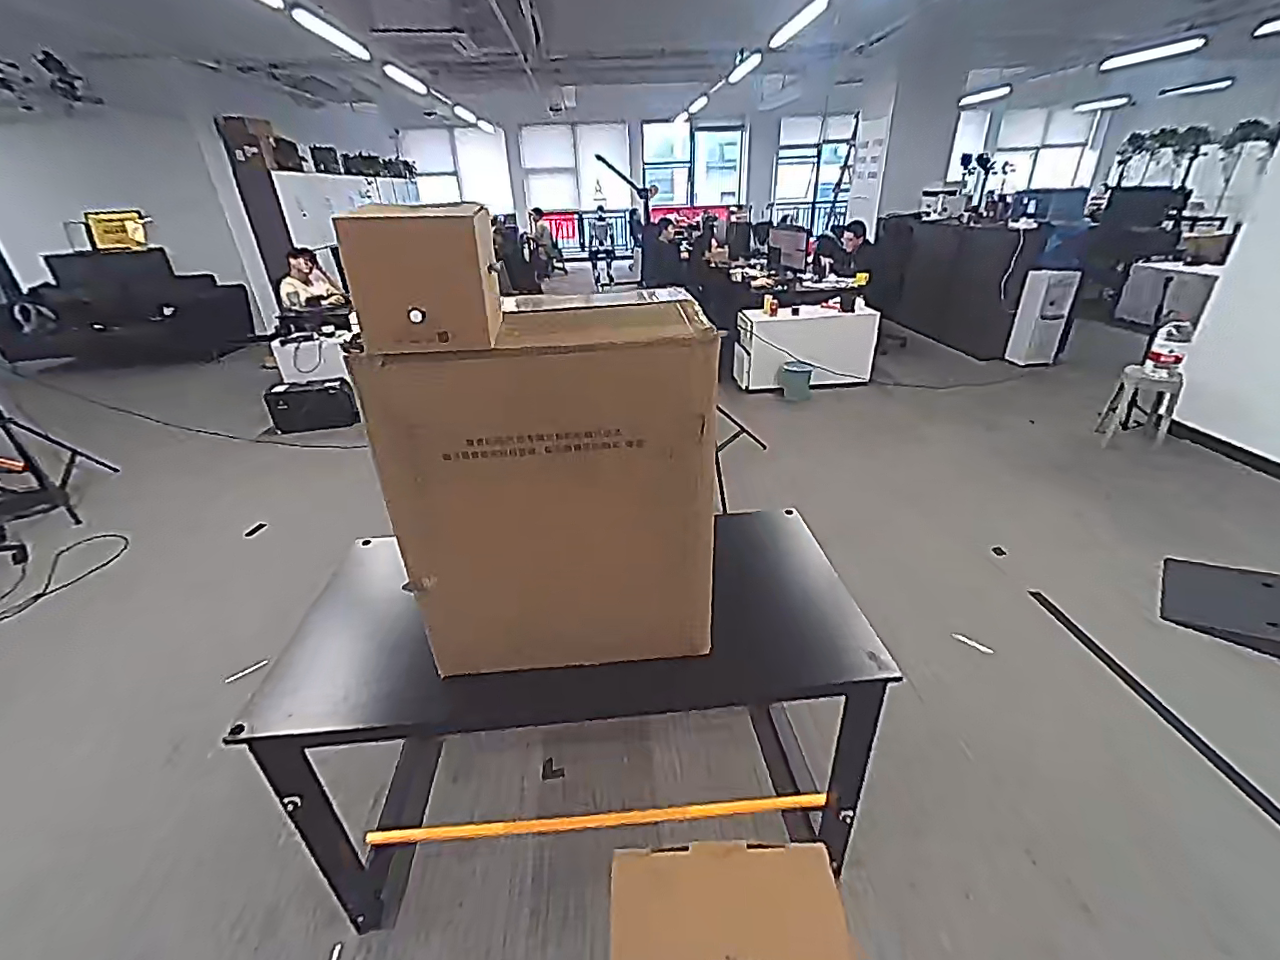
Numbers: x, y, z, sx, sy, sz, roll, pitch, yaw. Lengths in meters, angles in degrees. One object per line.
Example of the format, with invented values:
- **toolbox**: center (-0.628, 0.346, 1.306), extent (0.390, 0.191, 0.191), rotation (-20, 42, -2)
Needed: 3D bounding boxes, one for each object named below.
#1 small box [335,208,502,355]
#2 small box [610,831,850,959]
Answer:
- **small box**: center (-0.290, -0.281, 0.755), extent (0.168, 0.176, 0.179), rotation (-4, 31, -6)
- **small box**: center (0.062, 0.393, 0.405), extent (0.168, 0.176, 0.179), rotation (-2, 40, 1)
